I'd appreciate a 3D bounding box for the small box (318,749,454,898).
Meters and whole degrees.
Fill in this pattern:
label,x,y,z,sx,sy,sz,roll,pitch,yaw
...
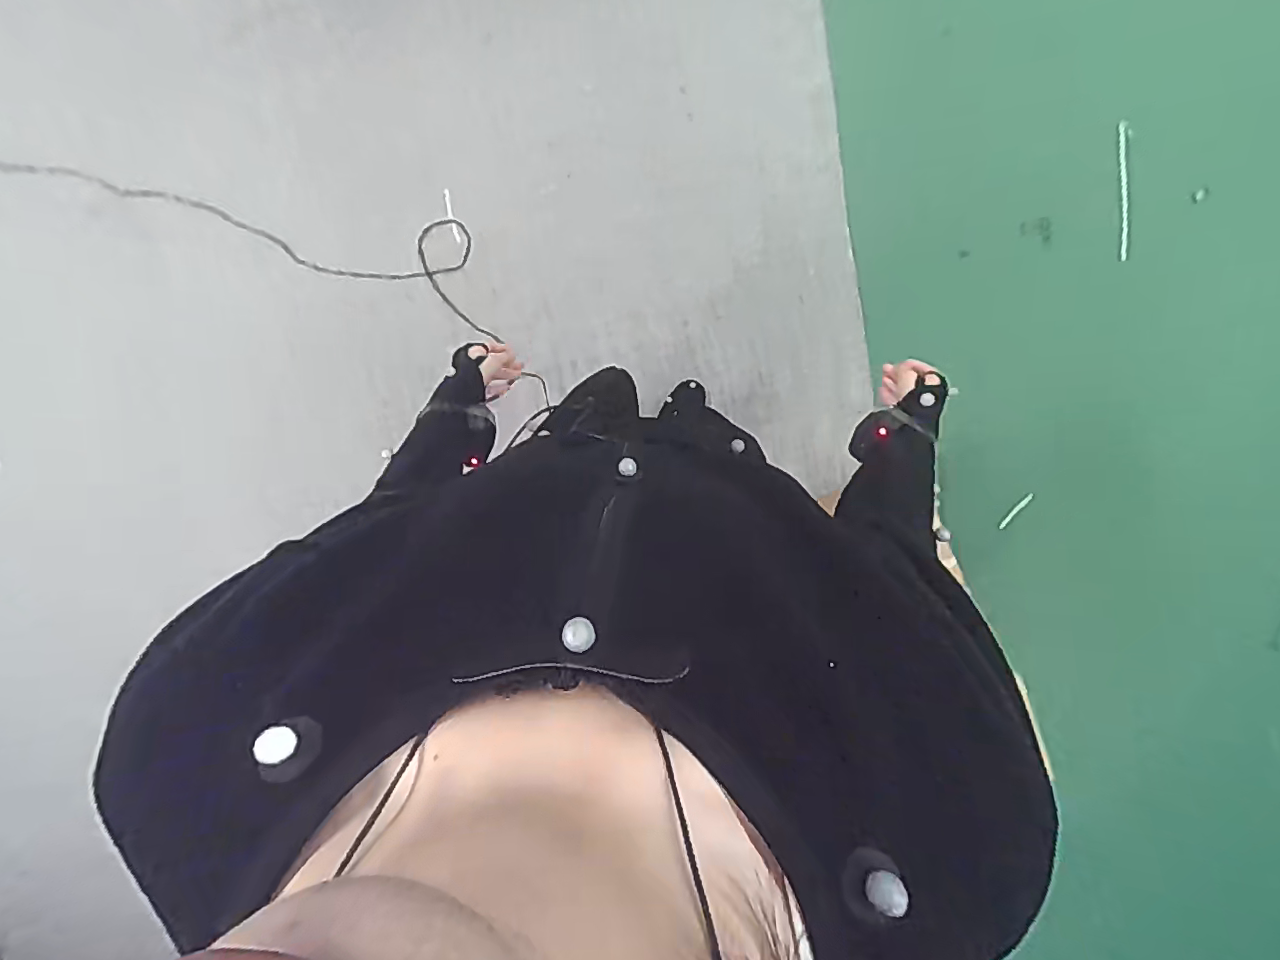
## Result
label,x,y,z,sx,sy,sz,roll,pitch,yaw
small box,-0.508,0.690,1.105,0.179,0.176,0.168,21,101,0
